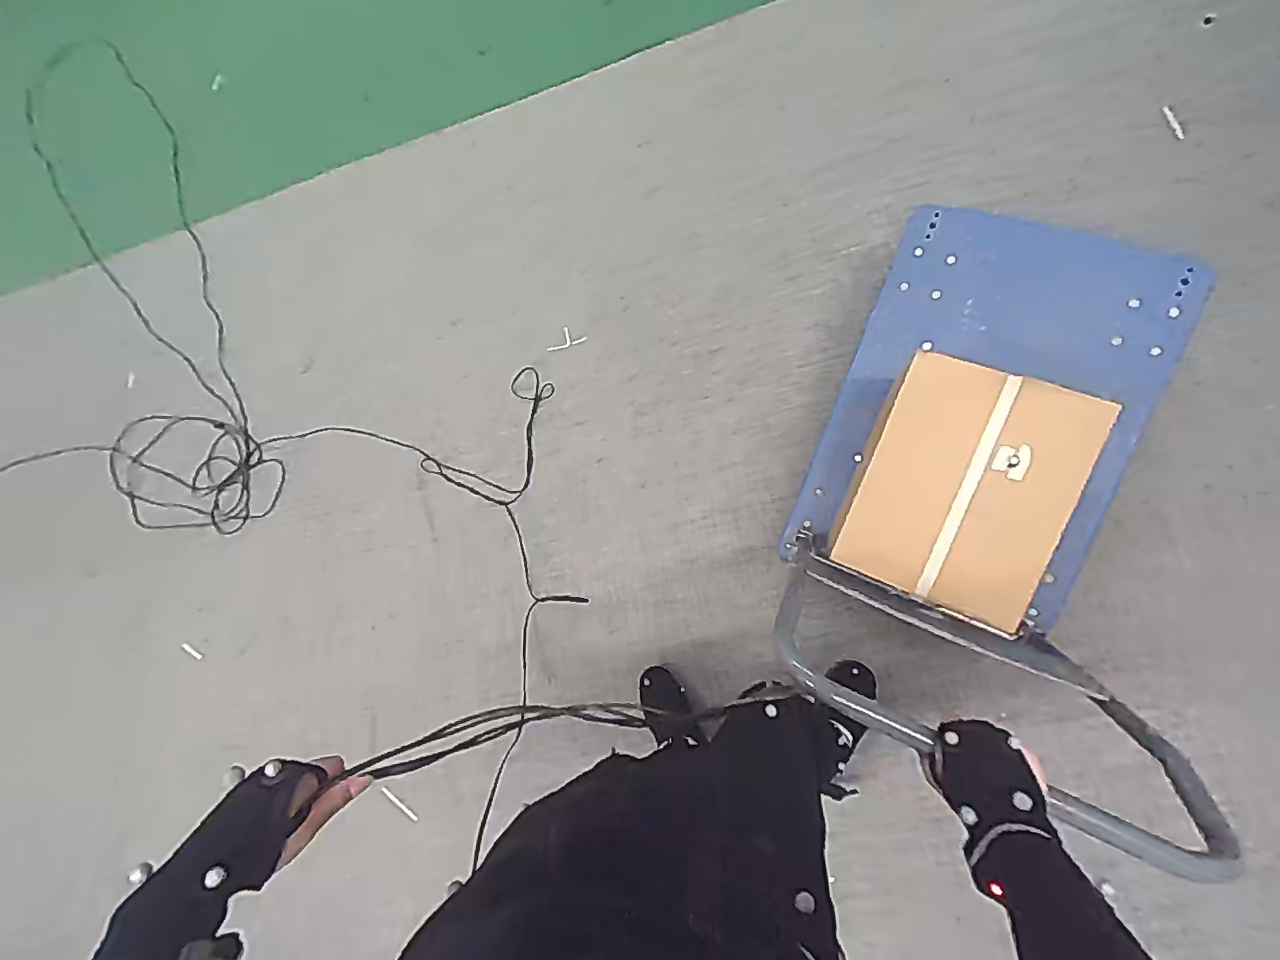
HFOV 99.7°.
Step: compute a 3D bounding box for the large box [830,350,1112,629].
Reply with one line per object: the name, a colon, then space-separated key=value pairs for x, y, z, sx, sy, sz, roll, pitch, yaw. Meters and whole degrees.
large box: x=0.595 y=0.016 z=1.062 sx=0.320 sy=0.320 sz=0.408 roll=23 pitch=96 yaw=16
